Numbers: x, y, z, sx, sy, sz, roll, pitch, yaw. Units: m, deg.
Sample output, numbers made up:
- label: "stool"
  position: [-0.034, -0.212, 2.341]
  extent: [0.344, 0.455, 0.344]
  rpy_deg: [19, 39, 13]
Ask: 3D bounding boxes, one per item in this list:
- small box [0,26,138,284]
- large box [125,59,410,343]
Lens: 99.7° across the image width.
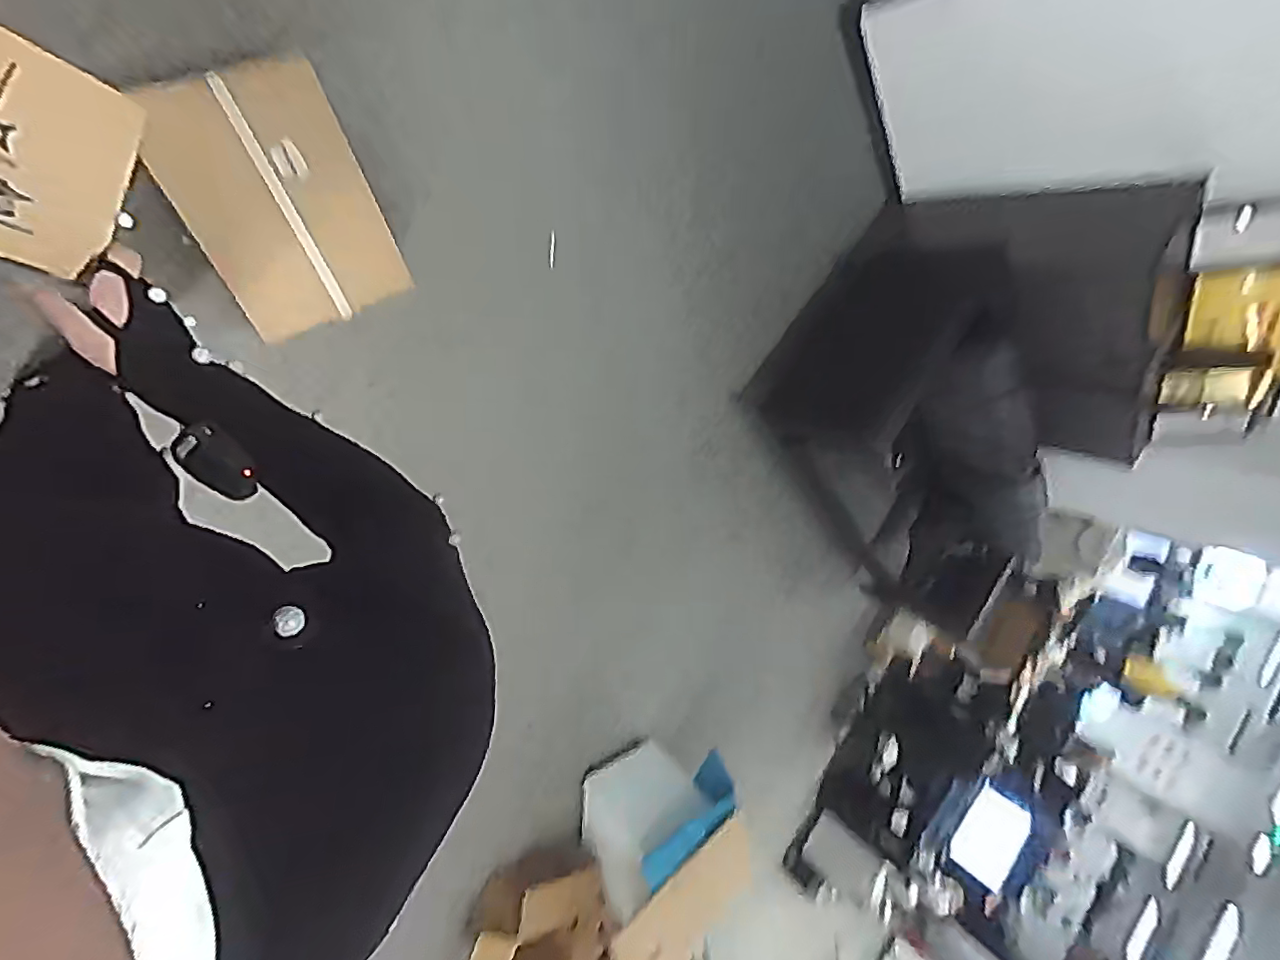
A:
- label: "small box"
  position: [-0.581, -0.289, 0.472]
  extent: [0.168, 0.176, 0.179]
  rpy_deg: [14, 91, -53]
- label: "large box"
  position: [-0.741, -0.538, 1.091]
  extent: [0.320, 0.320, 0.408]
  rpy_deg: [-35, 127, -25]
